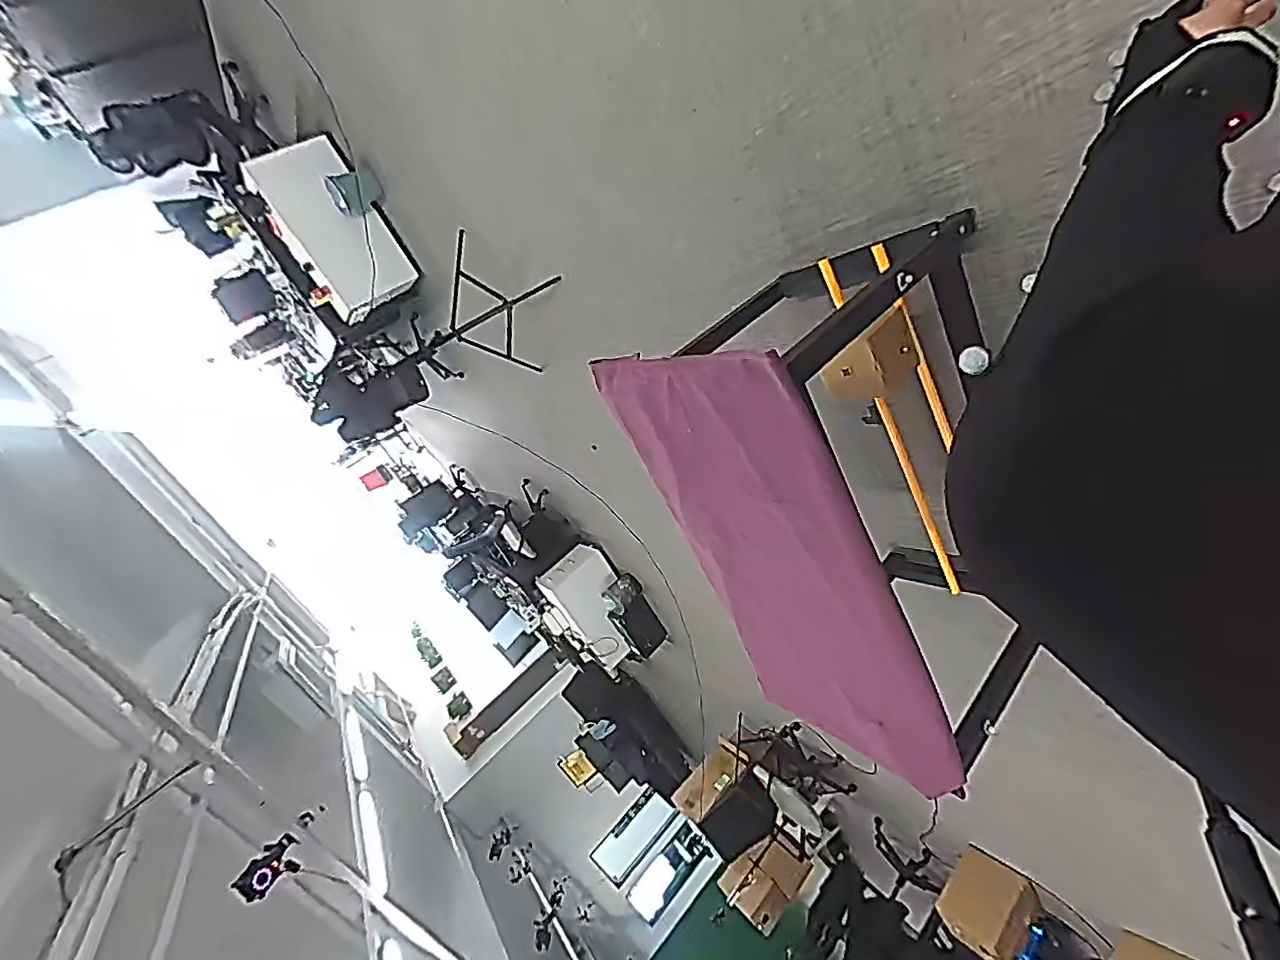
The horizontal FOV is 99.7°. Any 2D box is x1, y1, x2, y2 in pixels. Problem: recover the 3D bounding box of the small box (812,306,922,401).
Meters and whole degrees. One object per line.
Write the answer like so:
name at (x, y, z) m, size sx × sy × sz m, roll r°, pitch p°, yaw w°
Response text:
small box at (0.584, -0.323, 1.392) m, size 0.179 × 0.176 × 0.168 m, roll 4°, pitch 131°, yaw 57°
